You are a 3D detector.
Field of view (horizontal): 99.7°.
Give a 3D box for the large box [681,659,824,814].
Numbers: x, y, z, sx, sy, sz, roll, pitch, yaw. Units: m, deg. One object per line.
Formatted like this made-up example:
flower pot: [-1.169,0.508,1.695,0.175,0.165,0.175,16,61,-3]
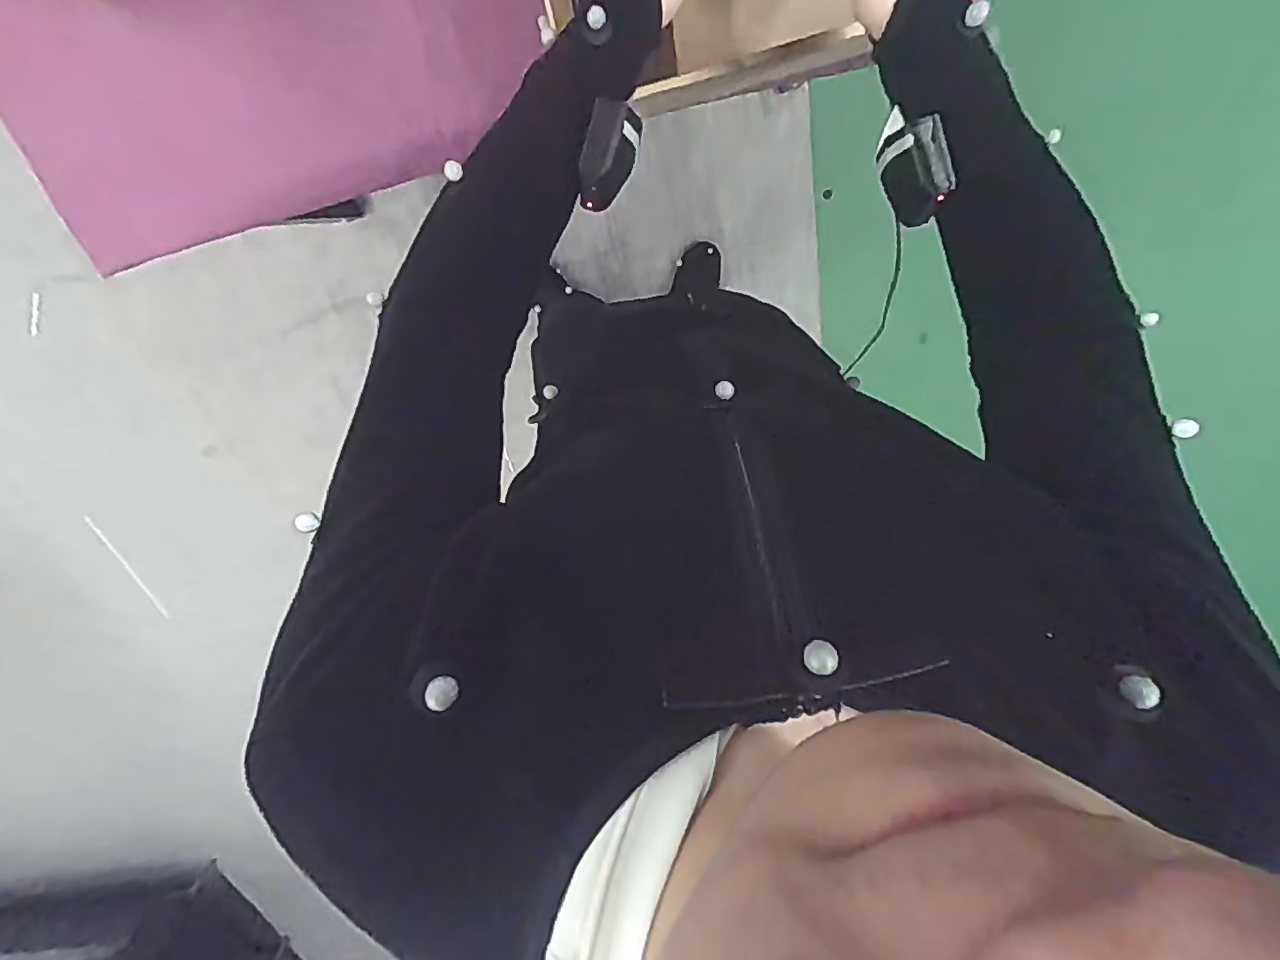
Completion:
large box: [0.405,0.967,2.048,0.408,0.320,0.320,-41,109,18]
